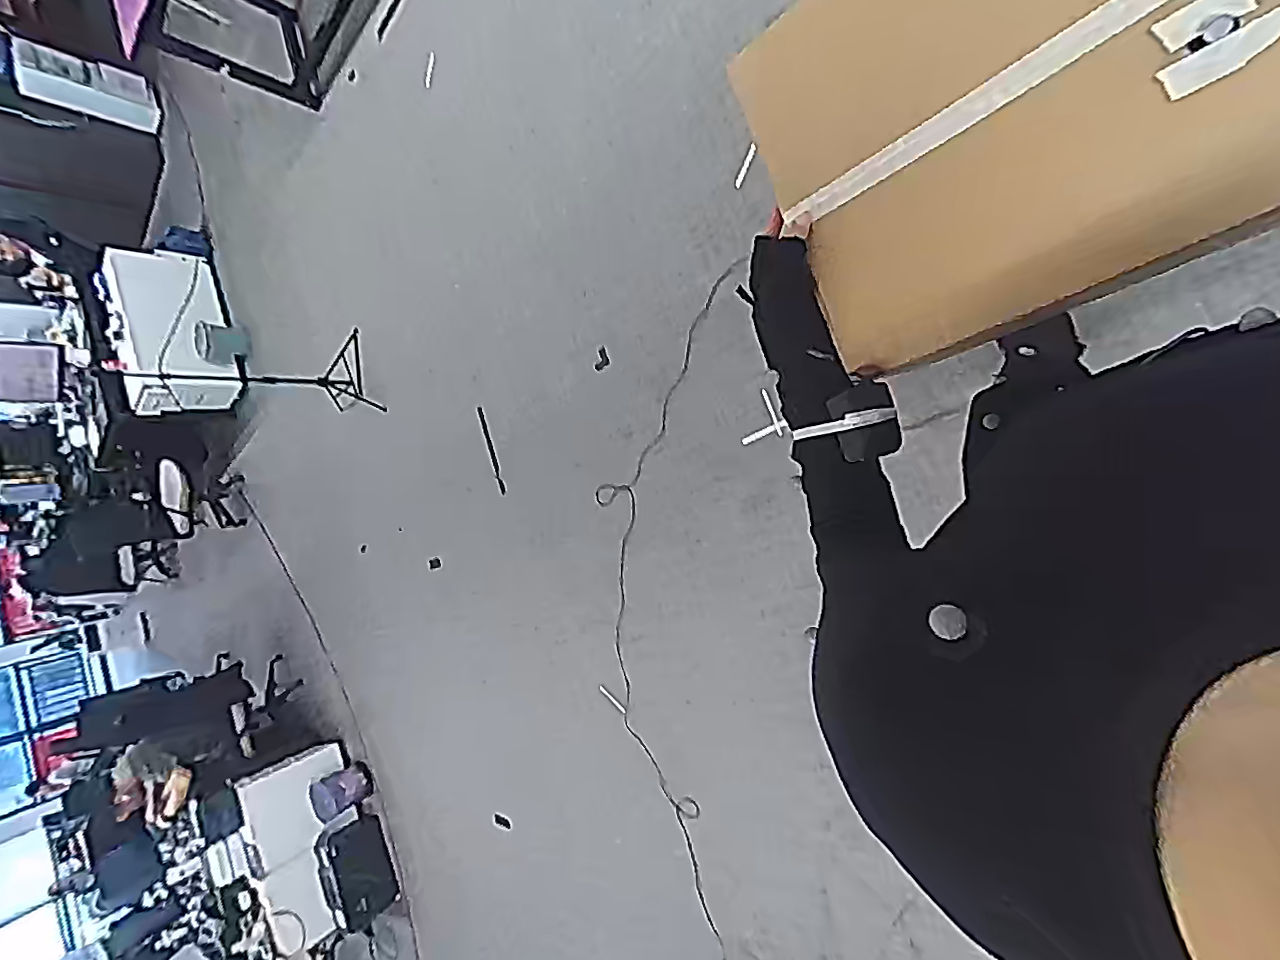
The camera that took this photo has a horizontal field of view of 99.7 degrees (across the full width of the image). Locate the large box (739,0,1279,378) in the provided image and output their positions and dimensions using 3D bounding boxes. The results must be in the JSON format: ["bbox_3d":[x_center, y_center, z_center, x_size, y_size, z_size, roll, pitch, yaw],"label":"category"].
[{"bbox_3d":[0.374,-0.321,0.514,0.408,0.320,0.320,-23,88,35],"label":"large box"}]
